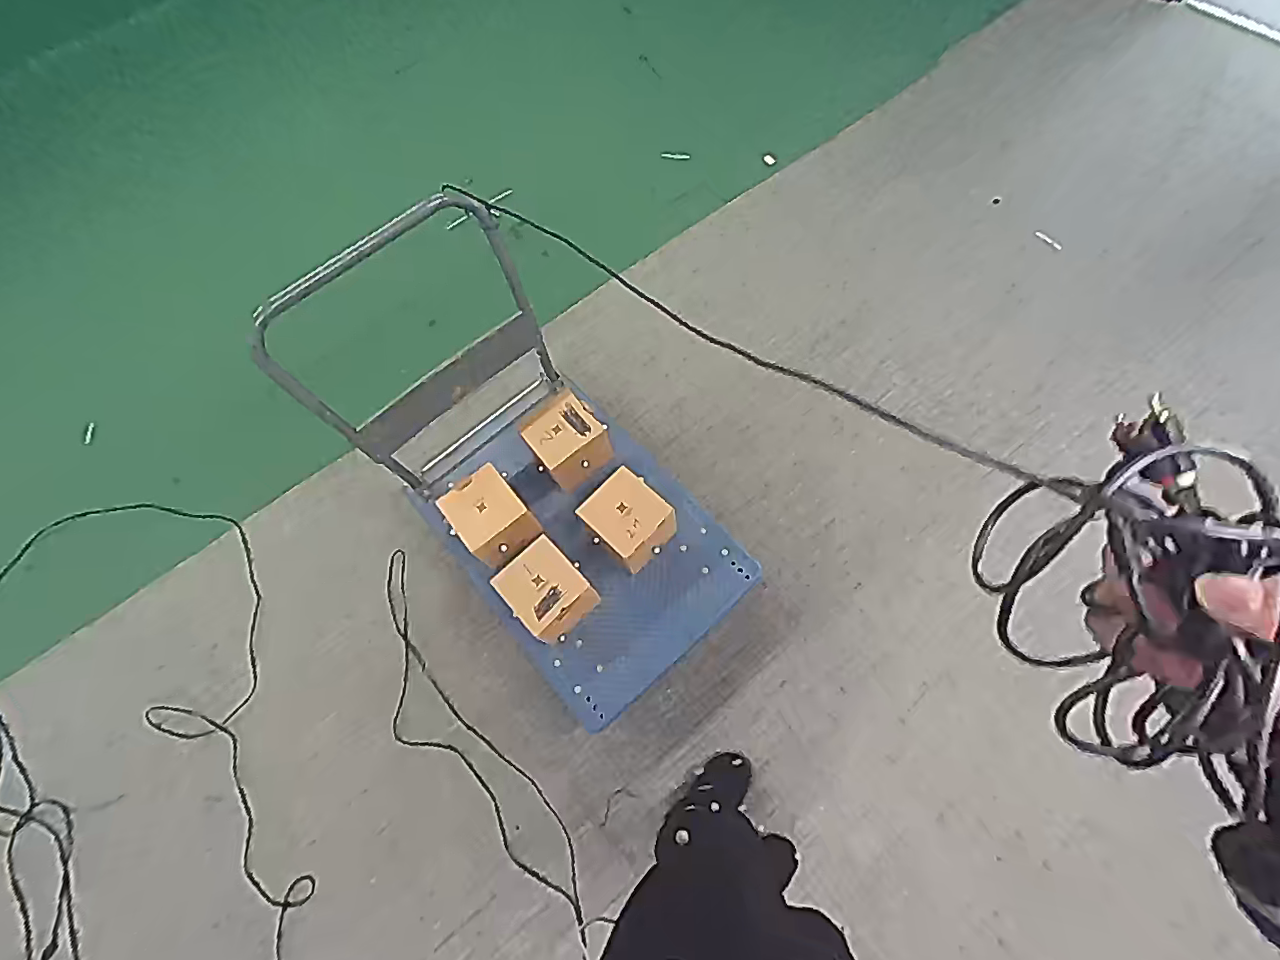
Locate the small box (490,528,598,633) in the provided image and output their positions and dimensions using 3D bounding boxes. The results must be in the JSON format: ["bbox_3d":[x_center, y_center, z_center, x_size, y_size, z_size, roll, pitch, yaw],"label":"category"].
[{"bbox_3d":[-0.221,0.248,1.292,0.168,0.176,0.179,-41,70,-12],"label":"small box"}]

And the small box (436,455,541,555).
[{"bbox_3d":[-0.378,0.074,1.379,0.168,0.176,0.179,-38,69,-11],"label":"small box"}]

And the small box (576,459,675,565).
[{"bbox_3d":[-0.030,0.086,1.341,0.168,0.176,0.179,-44,71,-12],"label":"small box"}]
